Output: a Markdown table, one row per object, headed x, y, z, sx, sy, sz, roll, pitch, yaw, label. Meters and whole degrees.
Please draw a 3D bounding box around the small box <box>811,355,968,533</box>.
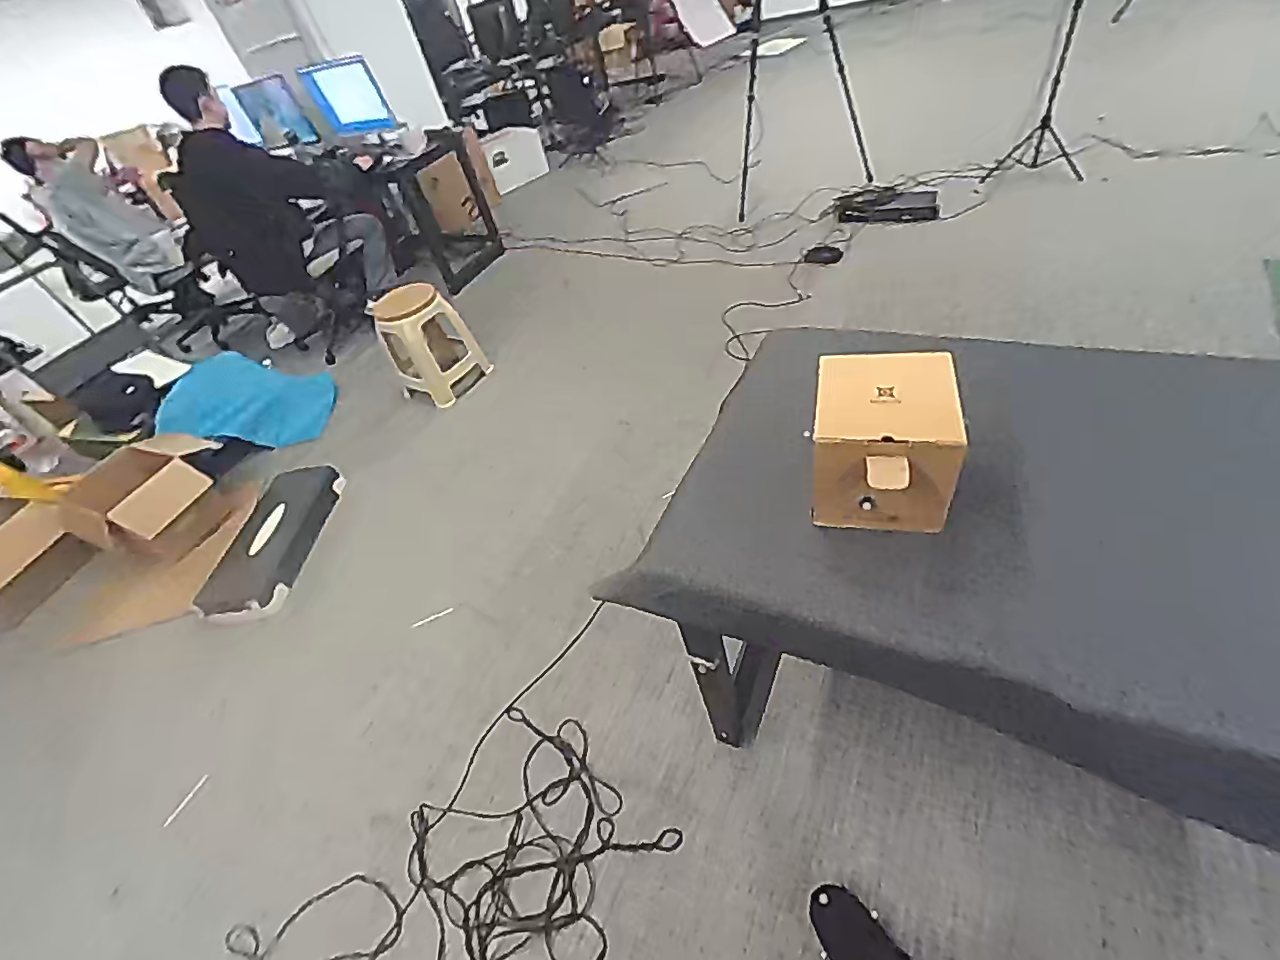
| x | y | z | sx | sy | sz | roll | pitch | yaw | label |
| --- | --- | --- | --- | --- | --- | --- | --- | --- | --- |
| 0.326 | -0.052 | 0.739 | 0.168 | 0.176 | 0.179 | 3 | 48 | 18 | small box |
